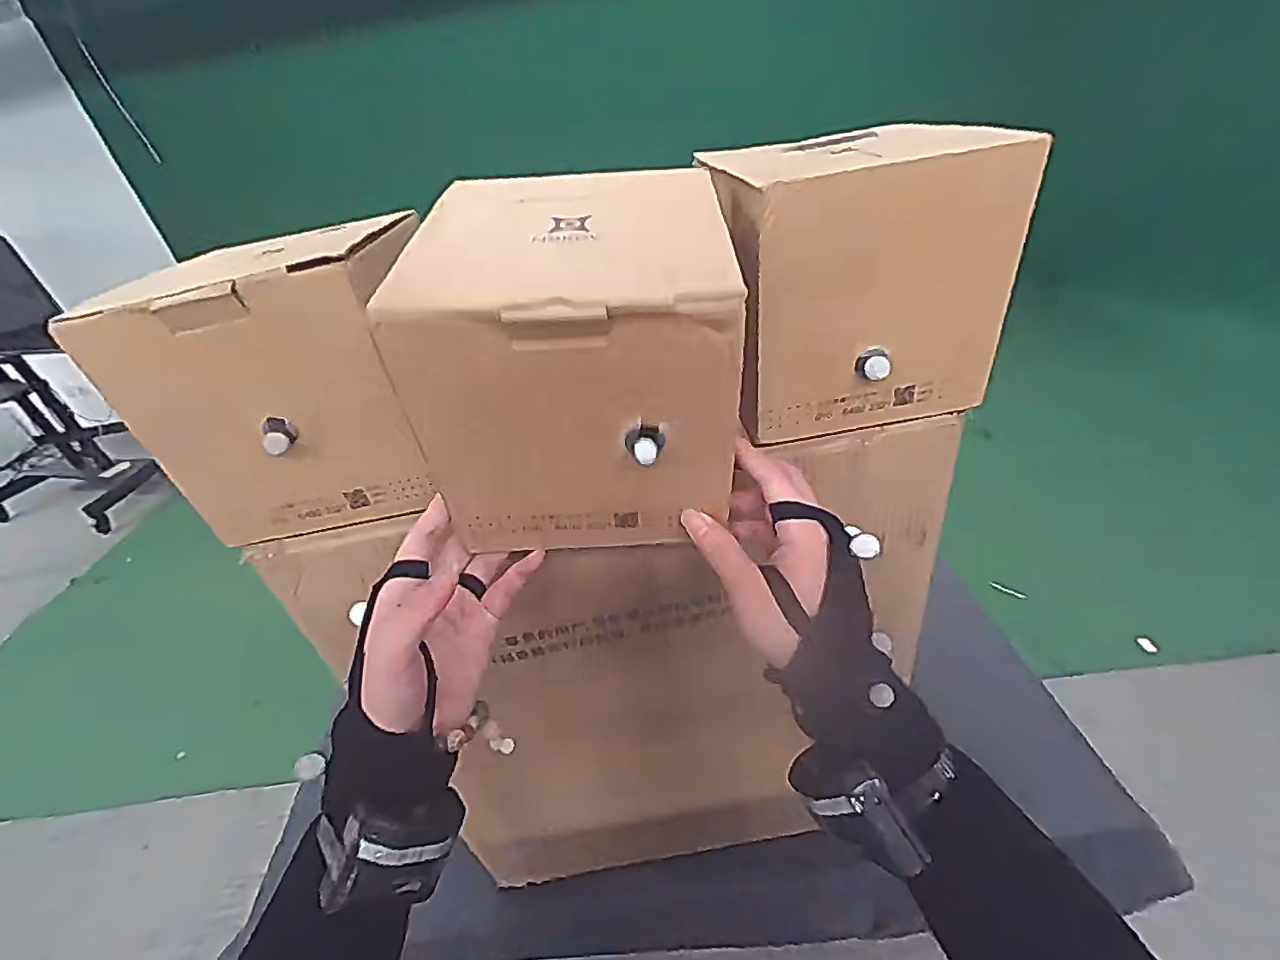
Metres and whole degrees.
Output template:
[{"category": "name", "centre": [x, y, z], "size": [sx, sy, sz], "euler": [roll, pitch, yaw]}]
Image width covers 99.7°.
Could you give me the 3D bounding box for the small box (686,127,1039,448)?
[{"category": "small box", "centre": [0.133, -0.145, 0.397], "size": [0.168, 0.176, 0.179], "euler": [-11, 36, 0]}]

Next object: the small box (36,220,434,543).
[{"category": "small box", "centre": [-0.239, -0.070, 0.401], "size": [0.168, 0.176, 0.179], "euler": [-12, 35, 1]}]

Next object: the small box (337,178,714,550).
[{"category": "small box", "centre": [-0.043, -0.068, 0.340], "size": [0.168, 0.176, 0.179], "euler": [-3, 43, 2]}]
